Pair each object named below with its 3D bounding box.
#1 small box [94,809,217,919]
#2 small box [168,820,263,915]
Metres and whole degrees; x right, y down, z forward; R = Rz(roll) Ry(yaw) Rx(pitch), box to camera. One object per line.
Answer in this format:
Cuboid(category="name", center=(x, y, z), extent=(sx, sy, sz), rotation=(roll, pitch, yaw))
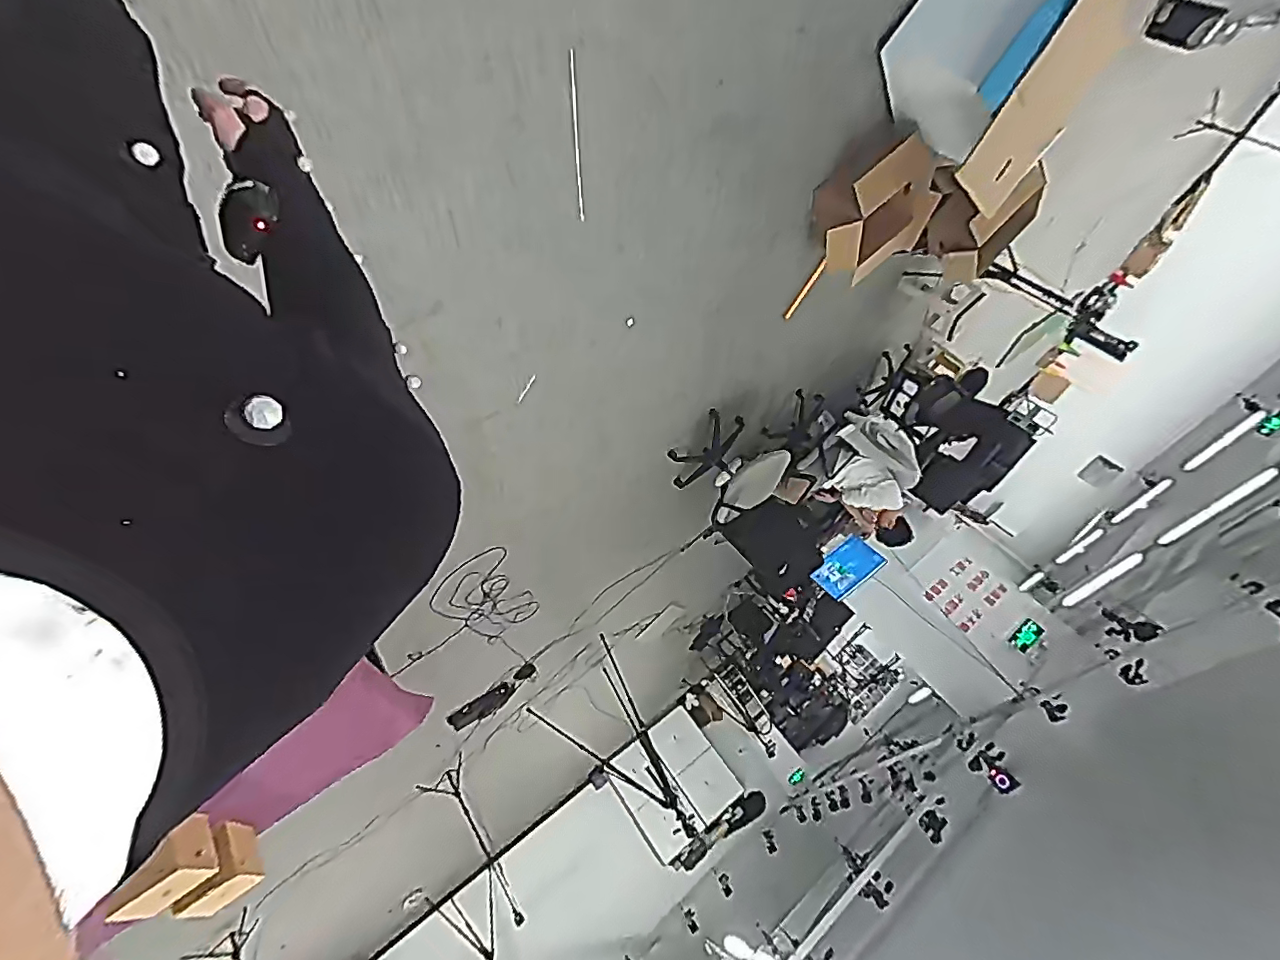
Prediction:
Cuboid(category="small box", center=(-1.254, 0.988, 1.403), extent=(0.168, 0.176, 0.179), rotation=(-30, 151, -24))
Cuboid(category="small box", center=(-1.276, 1.157, 1.620), extent=(0.168, 0.176, 0.179), rotation=(-29, 149, -23))
